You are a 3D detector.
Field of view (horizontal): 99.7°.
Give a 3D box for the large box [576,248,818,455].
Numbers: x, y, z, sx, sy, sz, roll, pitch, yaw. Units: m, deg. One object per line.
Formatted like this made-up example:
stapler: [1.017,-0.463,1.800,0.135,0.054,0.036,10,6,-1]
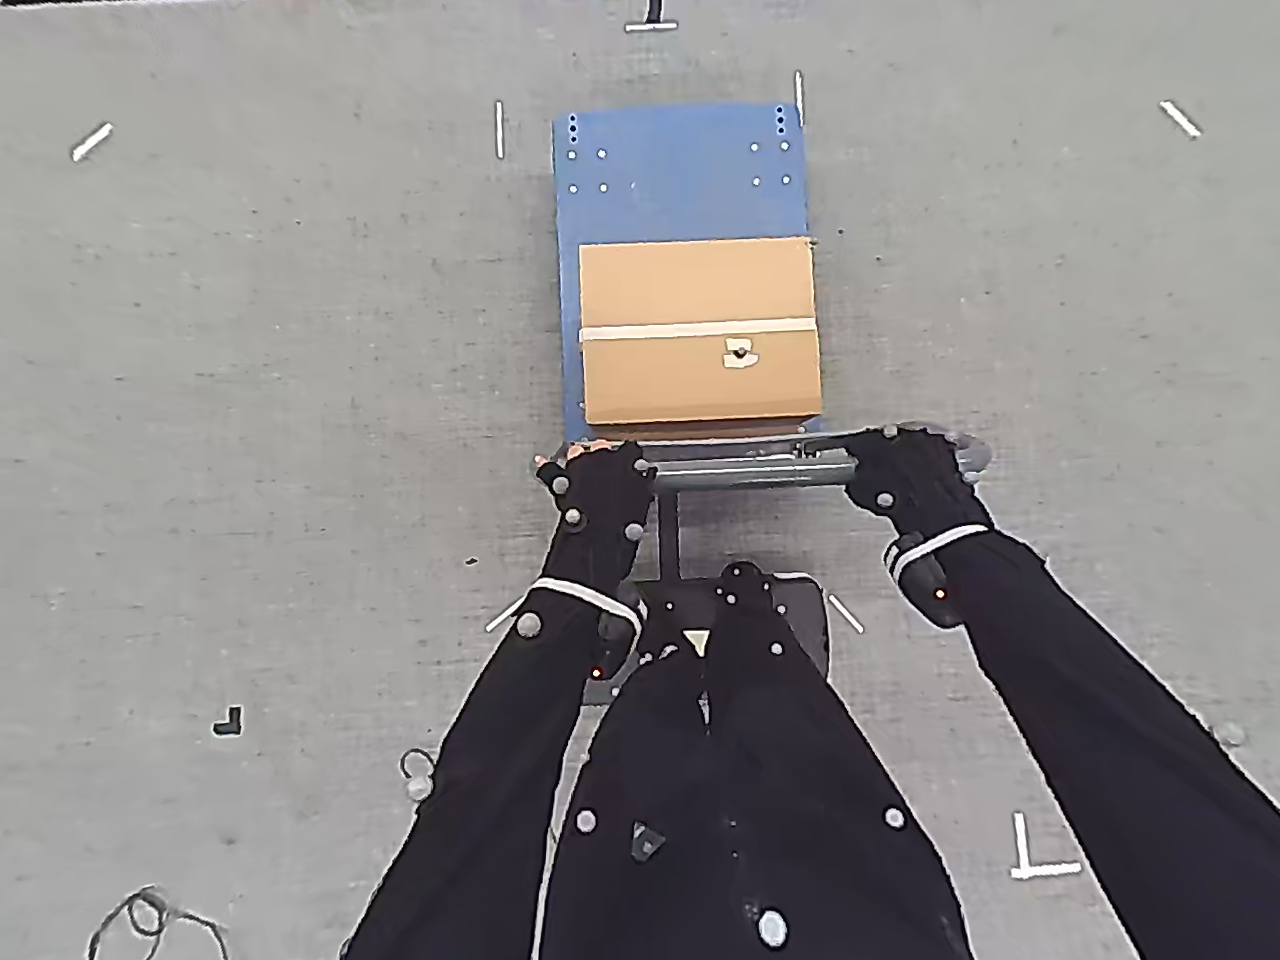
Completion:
large box: [0.092,-0.228,1.070,0.408,0.320,0.320,-3,88,-1]
